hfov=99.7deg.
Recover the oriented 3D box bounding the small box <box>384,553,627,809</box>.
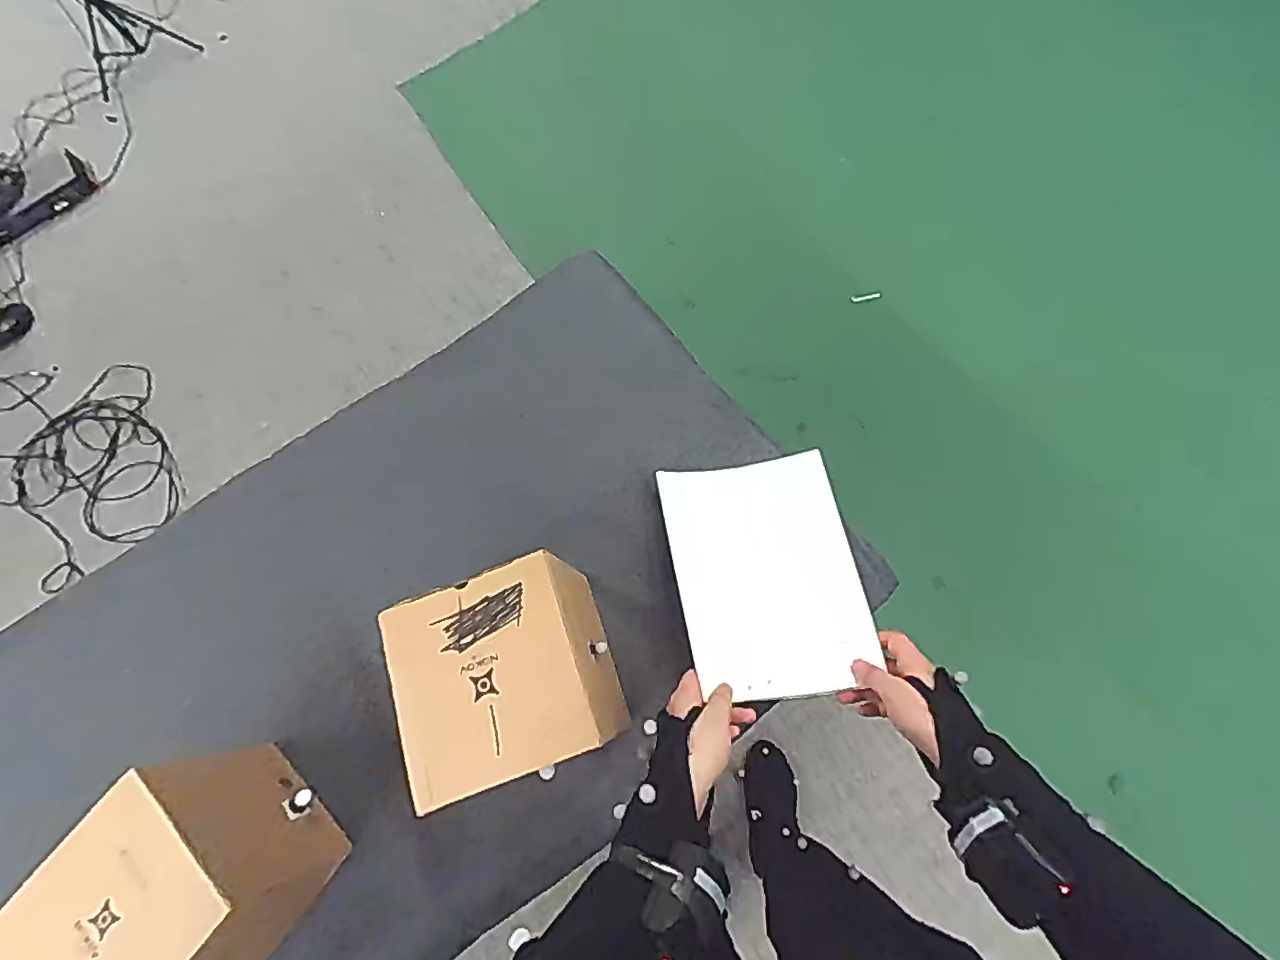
[{"bbox_3d":[-0.125,0.196,0.551,0.168,0.176,0.179,-21,71,2],"label":"small box"}]

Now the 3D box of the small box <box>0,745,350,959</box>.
[{"bbox_3d":[-0.438,0.398,0.535,0.168,0.176,0.179,36,79,16],"label":"small box"}]
